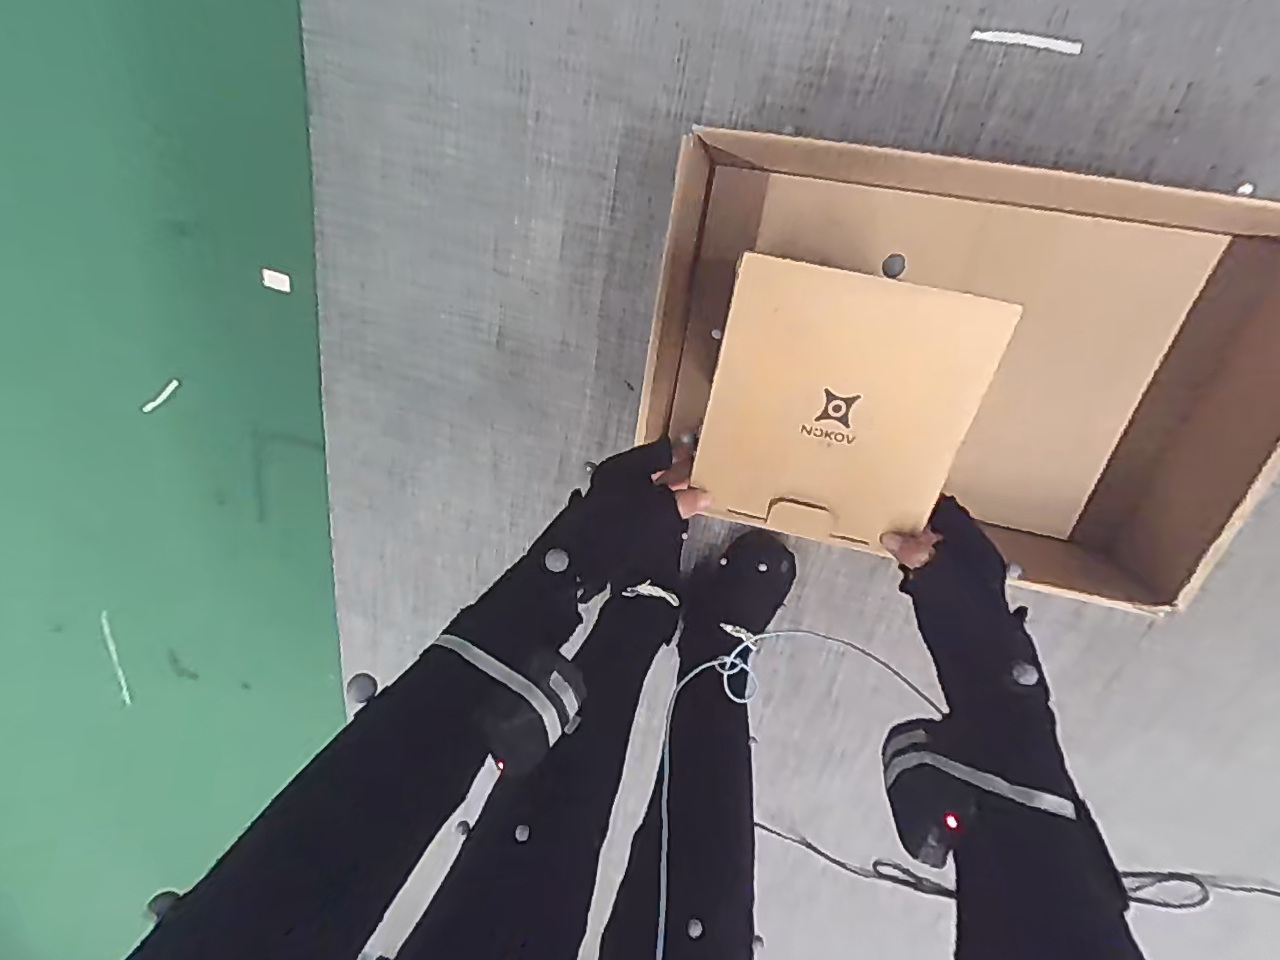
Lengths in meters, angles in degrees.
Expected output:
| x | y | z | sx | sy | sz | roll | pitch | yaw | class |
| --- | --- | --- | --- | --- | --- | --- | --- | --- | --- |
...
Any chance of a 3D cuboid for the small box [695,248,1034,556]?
| x | y | z | sx | sy | sz | roll | pitch | yaw | class |
| --- | --- | --- | --- | --- | --- | --- | --- | --- | --- |
| 0.144 | -0.073 | 0.419 | 0.168 | 0.176 | 0.179 | 13 | 116 | 5 | small box |
